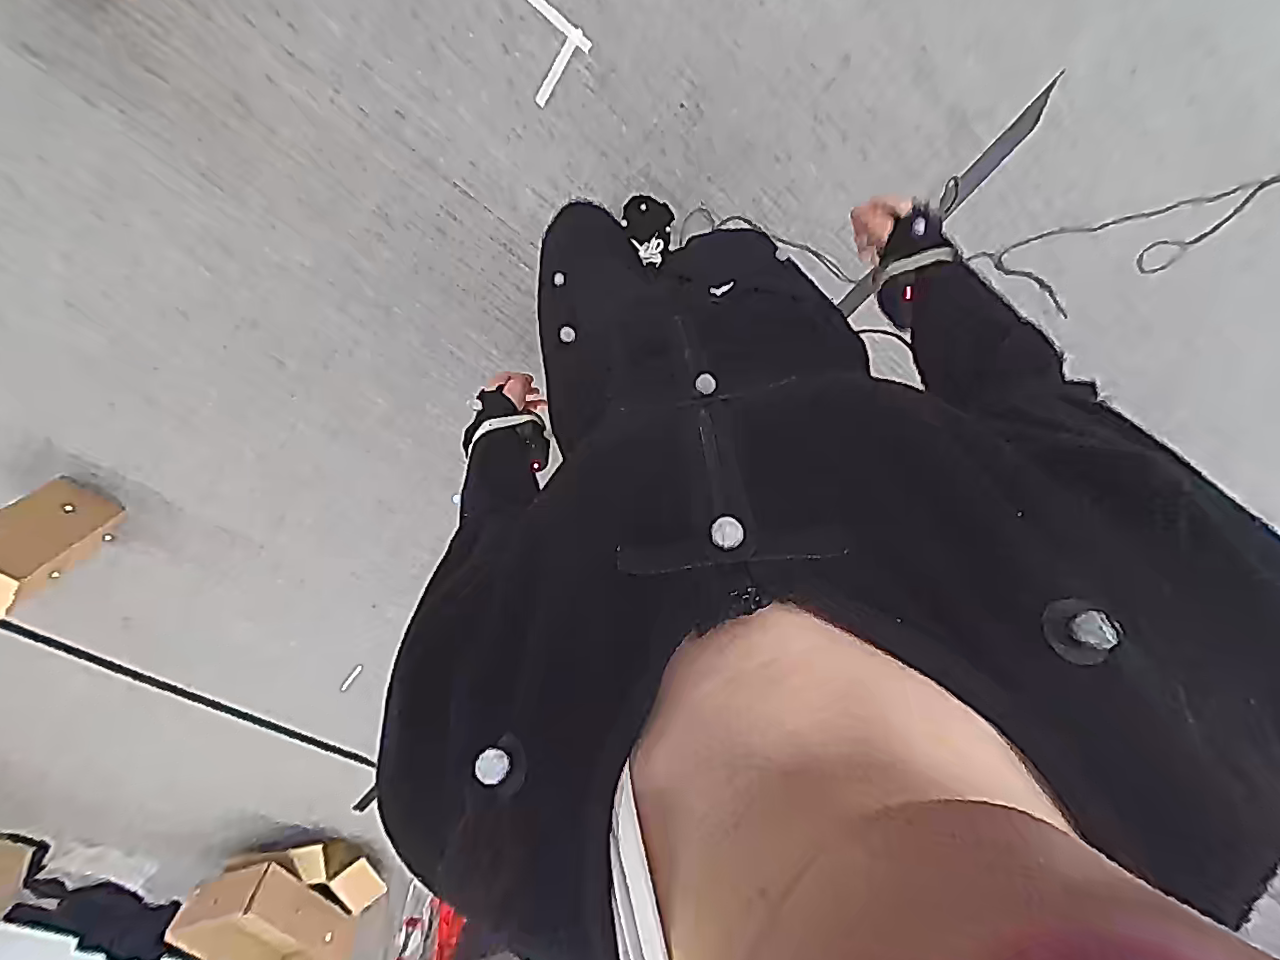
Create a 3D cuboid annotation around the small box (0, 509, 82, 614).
[{"bbox_3d":[-1.612,0.199,1.381,0.179,0.176,0.168,38,112,-22],"label":"small box"}]
